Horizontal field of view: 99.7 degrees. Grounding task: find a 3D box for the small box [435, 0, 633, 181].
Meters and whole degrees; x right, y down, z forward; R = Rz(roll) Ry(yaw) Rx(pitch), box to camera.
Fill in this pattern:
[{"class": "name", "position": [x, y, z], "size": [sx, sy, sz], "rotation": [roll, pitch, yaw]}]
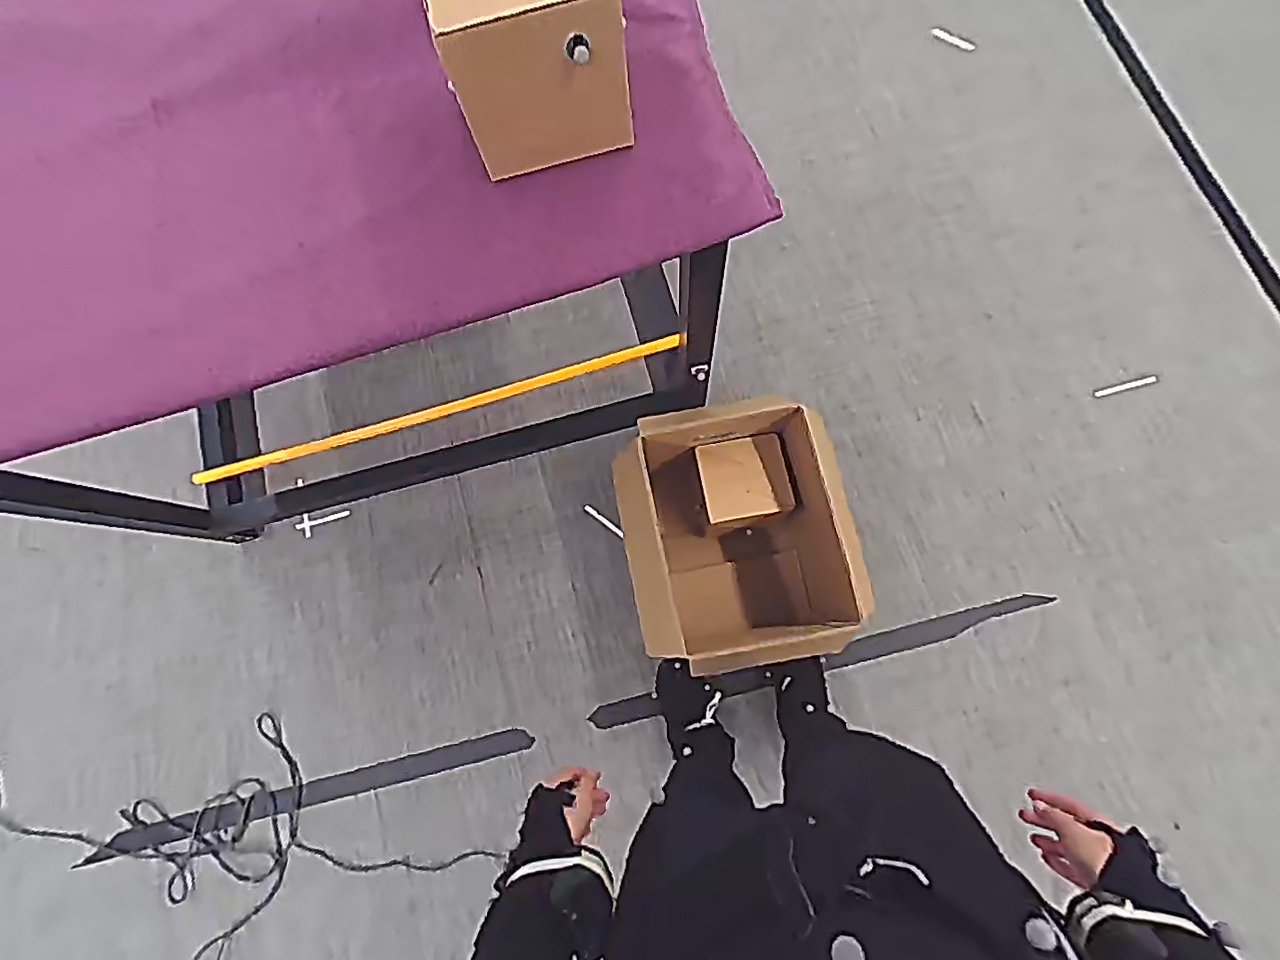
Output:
[{"class": "small box", "position": [-0.108, -0.466, 0.585], "size": [0.179, 0.176, 0.168], "rotation": [-14, 75, 0]}]
